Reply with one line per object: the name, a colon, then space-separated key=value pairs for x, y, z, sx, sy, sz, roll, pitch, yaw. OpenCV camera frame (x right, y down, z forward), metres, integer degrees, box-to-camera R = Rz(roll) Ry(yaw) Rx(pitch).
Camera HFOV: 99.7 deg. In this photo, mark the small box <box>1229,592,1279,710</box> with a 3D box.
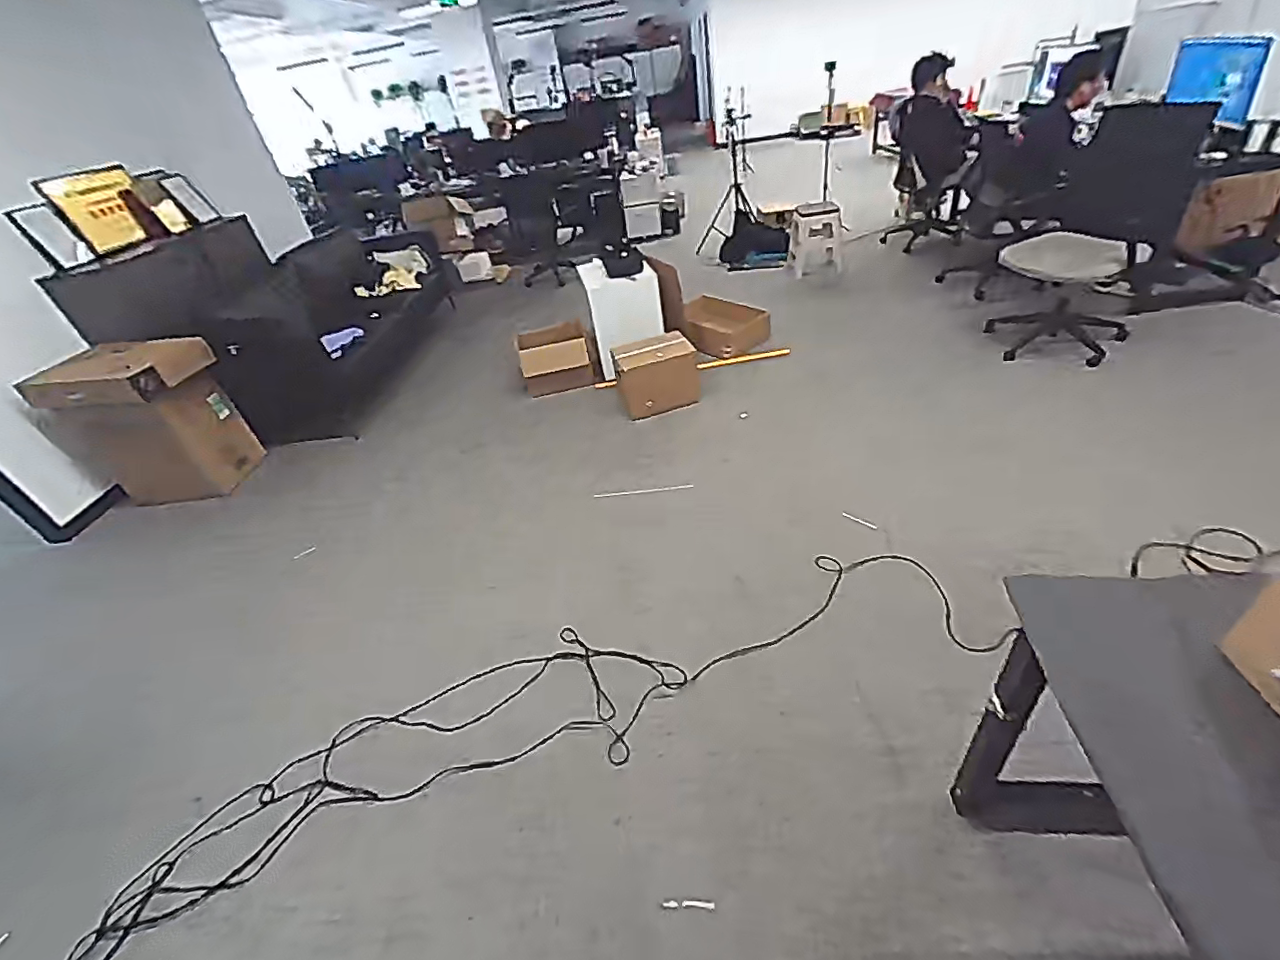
small box: x=0.899 y=0.216 z=0.650 sx=0.179 sy=0.176 sz=0.168 roll=-4 pitch=38 yaw=8
